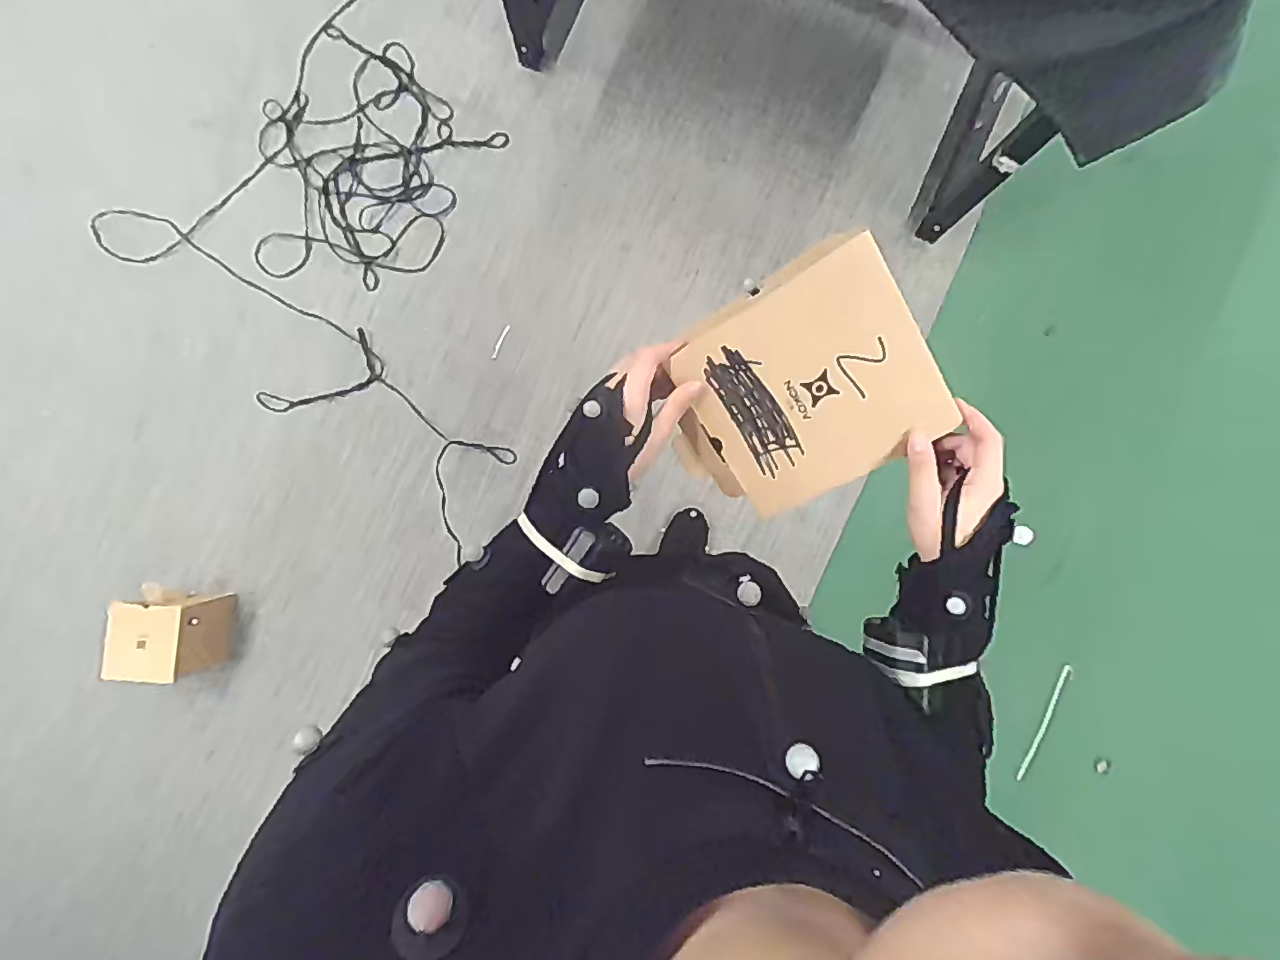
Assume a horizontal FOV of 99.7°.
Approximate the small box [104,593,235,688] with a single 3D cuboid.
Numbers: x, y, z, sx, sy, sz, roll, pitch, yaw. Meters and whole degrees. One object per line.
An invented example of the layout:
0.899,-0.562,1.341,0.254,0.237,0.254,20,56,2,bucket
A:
-1.108,0.375,1.287,0.168,0.176,0.179,4,87,0,small box
